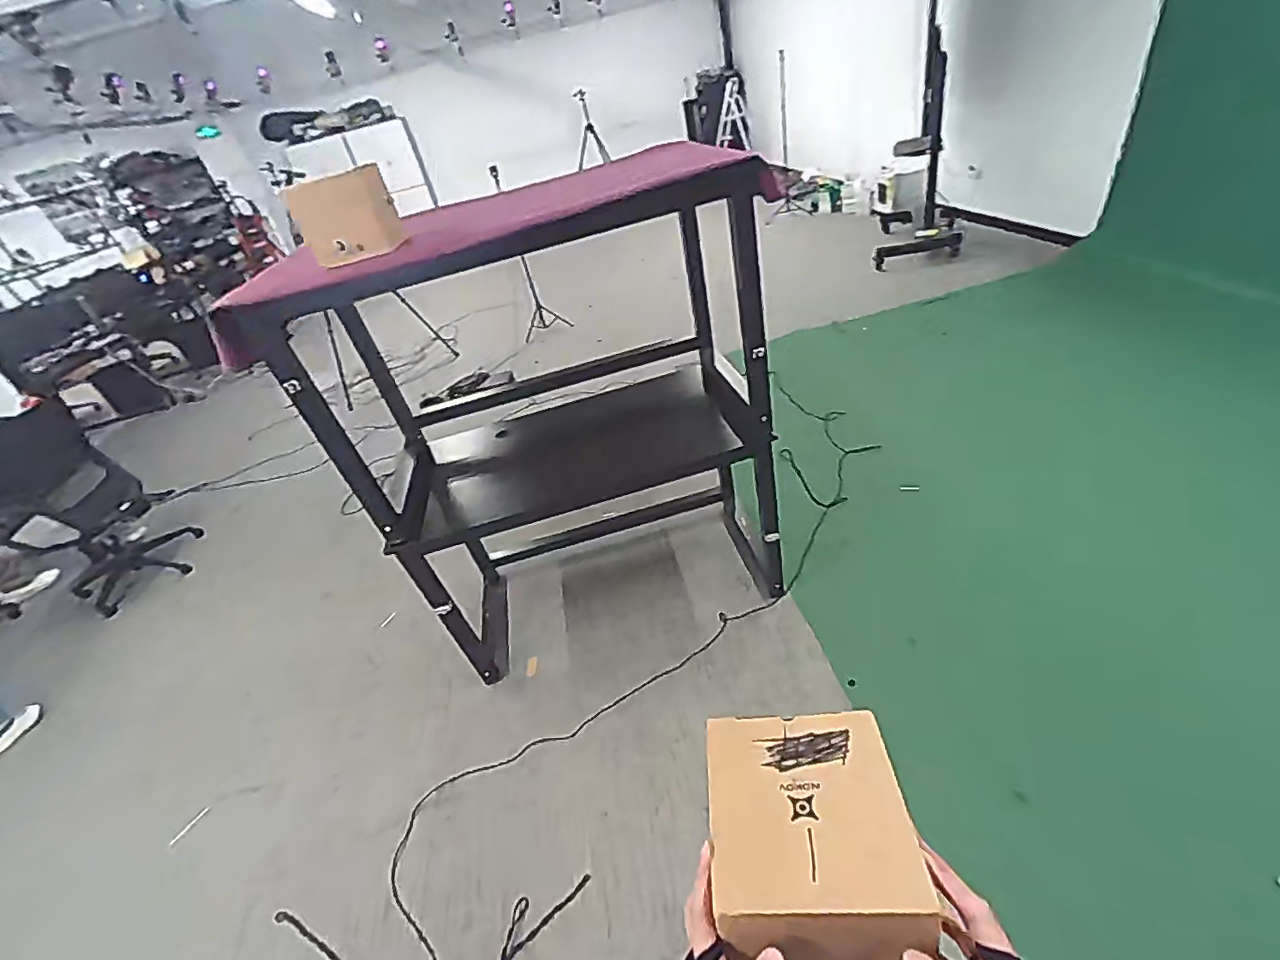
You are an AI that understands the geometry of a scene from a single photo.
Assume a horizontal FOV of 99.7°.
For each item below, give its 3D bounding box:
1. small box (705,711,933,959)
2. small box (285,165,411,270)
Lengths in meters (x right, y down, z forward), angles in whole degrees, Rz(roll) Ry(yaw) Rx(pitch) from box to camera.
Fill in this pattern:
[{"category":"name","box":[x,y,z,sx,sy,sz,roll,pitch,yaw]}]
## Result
[{"category":"small box","box":[0.152,0.349,0.507,0.168,0.176,0.179,-8,27,10]},{"category":"small box","box":[-0.642,-0.589,1.216,0.168,0.176,0.179,-15,36,2]}]
